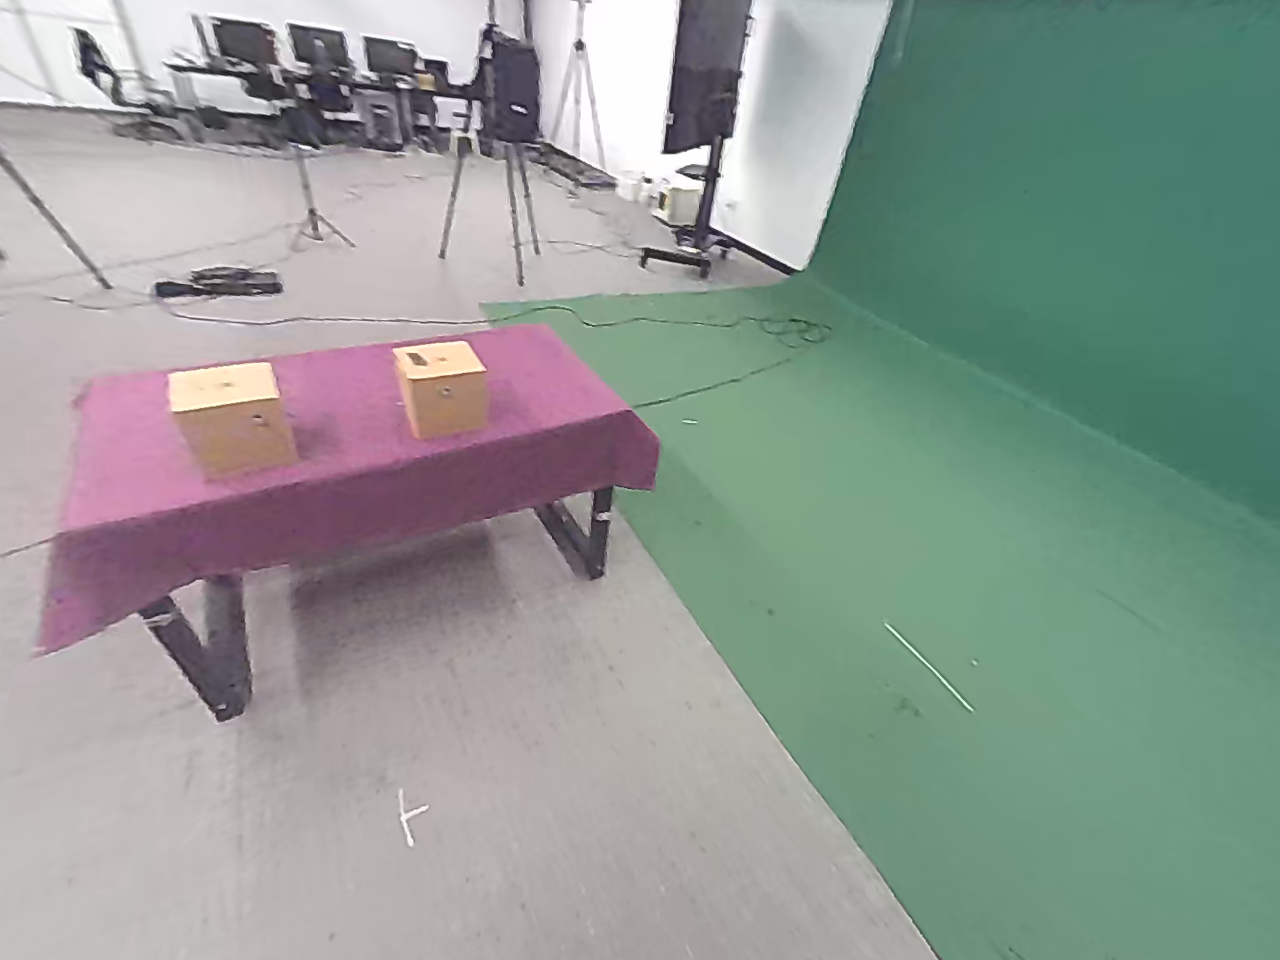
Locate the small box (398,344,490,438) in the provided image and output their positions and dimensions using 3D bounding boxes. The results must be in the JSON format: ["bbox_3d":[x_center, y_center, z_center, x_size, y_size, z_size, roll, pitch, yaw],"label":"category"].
[{"bbox_3d":[-0.485,-0.221,1.350,0.179,0.176,0.168,-14,44,-27],"label":"small box"}]

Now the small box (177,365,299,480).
[{"bbox_3d":[-0.850,-0.125,1.157,0.179,0.176,0.168,-16,44,-29],"label":"small box"}]
